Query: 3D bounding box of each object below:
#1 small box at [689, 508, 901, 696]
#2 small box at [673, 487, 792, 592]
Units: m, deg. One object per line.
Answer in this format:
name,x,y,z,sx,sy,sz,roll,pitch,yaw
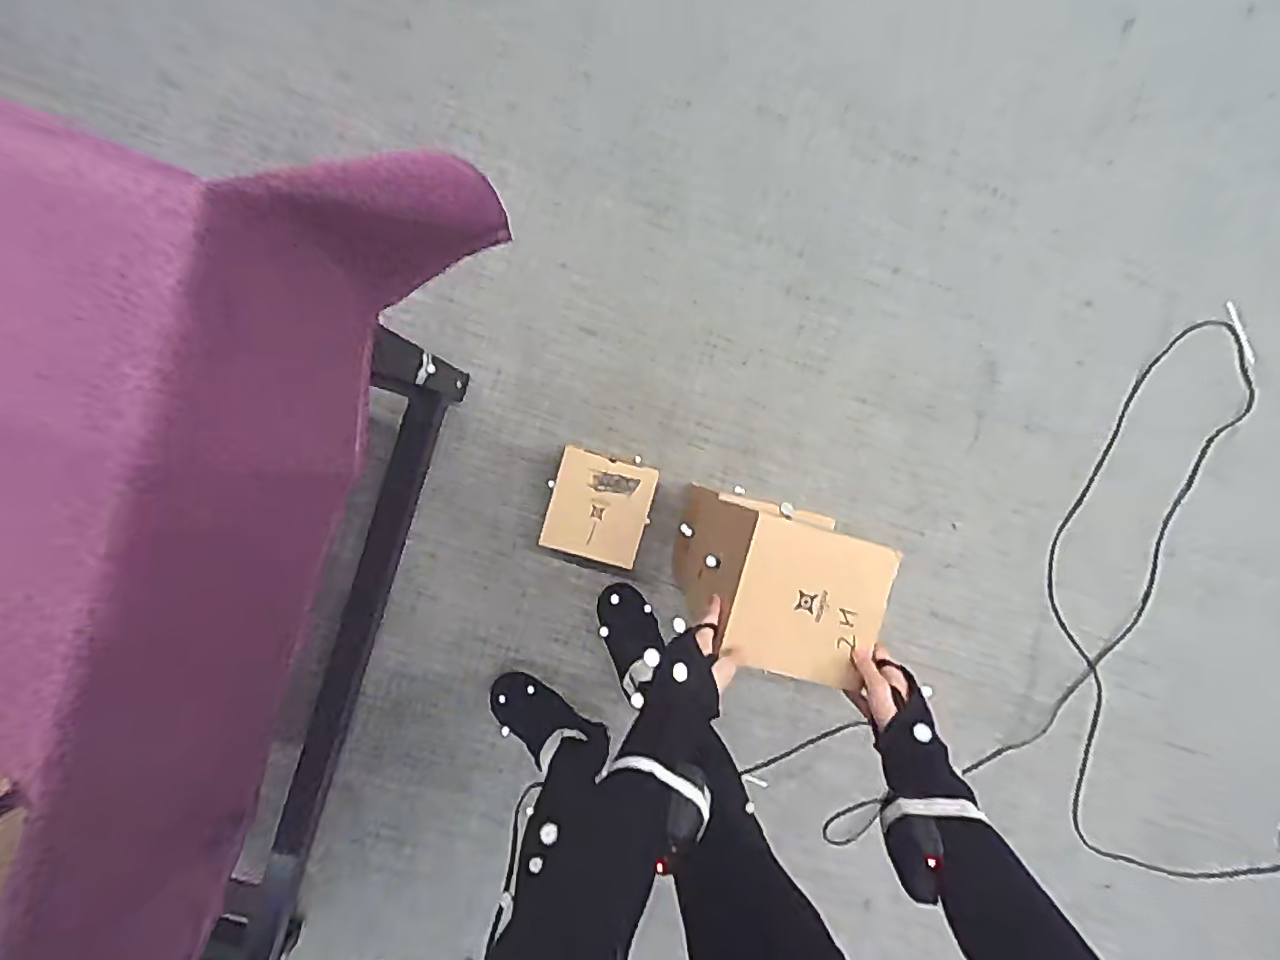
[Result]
small box,0.174,0.136,0.666,0.179,0.176,0.168,16,91,-9
small box,0.162,0.118,1.011,0.168,0.176,0.179,13,92,-4
